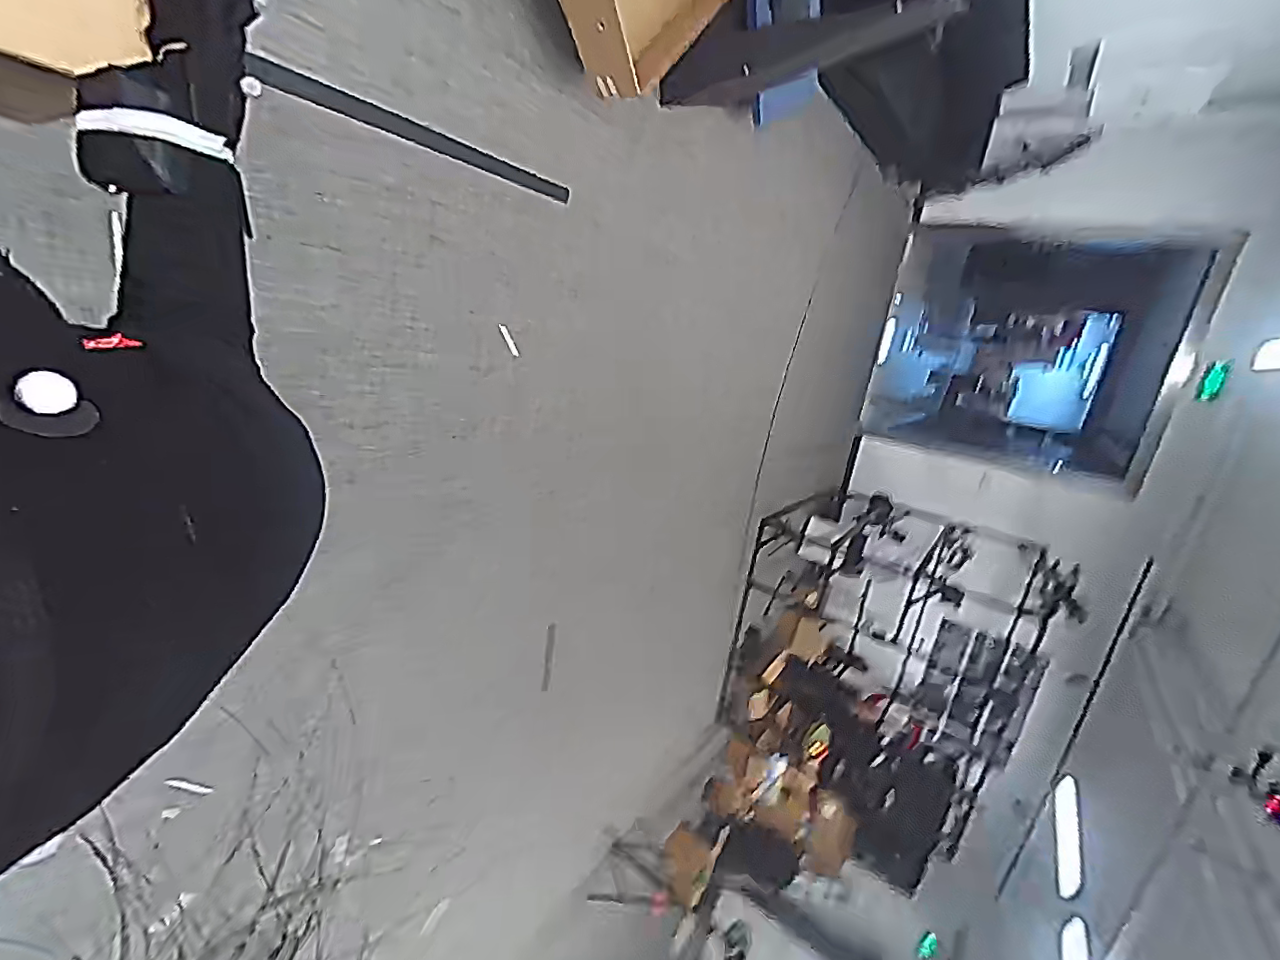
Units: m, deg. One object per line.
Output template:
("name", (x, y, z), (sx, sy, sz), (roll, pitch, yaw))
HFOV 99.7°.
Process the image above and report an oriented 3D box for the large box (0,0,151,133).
("large box", (-0.551, -0.413, 0.250), (0.408, 0.320, 0.320), (-13, 118, -57))
